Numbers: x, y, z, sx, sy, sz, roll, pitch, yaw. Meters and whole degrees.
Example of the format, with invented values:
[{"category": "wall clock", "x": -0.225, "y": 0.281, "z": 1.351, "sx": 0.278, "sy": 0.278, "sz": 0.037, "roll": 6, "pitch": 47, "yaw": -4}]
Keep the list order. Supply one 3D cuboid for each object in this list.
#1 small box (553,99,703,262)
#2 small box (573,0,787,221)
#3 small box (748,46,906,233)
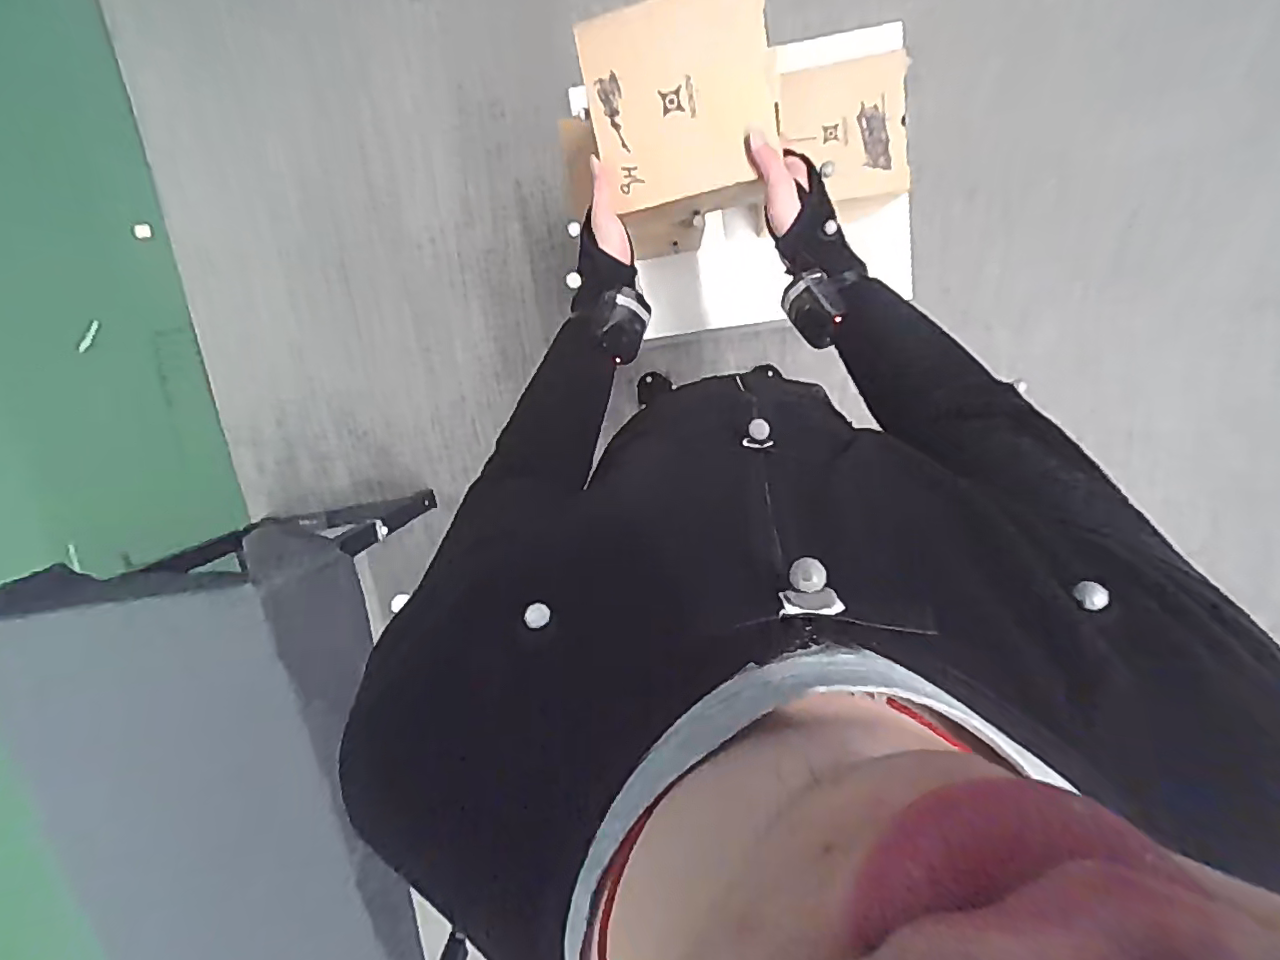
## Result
[{"category": "small box", "x": -0.013, "y": -0.426, "z": 0.778, "sx": 0.179, "sy": 0.176, "sz": 0.168, "roll": -9, "pitch": 101, "yaw": 4}, {"category": "small box", "x": 0.042, "y": -0.383, "z": 0.565, "sx": 0.179, "sy": 0.176, "sz": 0.168, "roll": -10, "pitch": 108, "yaw": 6}, {"category": "small box", "x": 0.250, "y": -0.460, "z": 0.759, "sx": 0.179, "sy": 0.176, "sz": 0.168, "roll": -7, "pitch": 102, "yaw": 5}]
